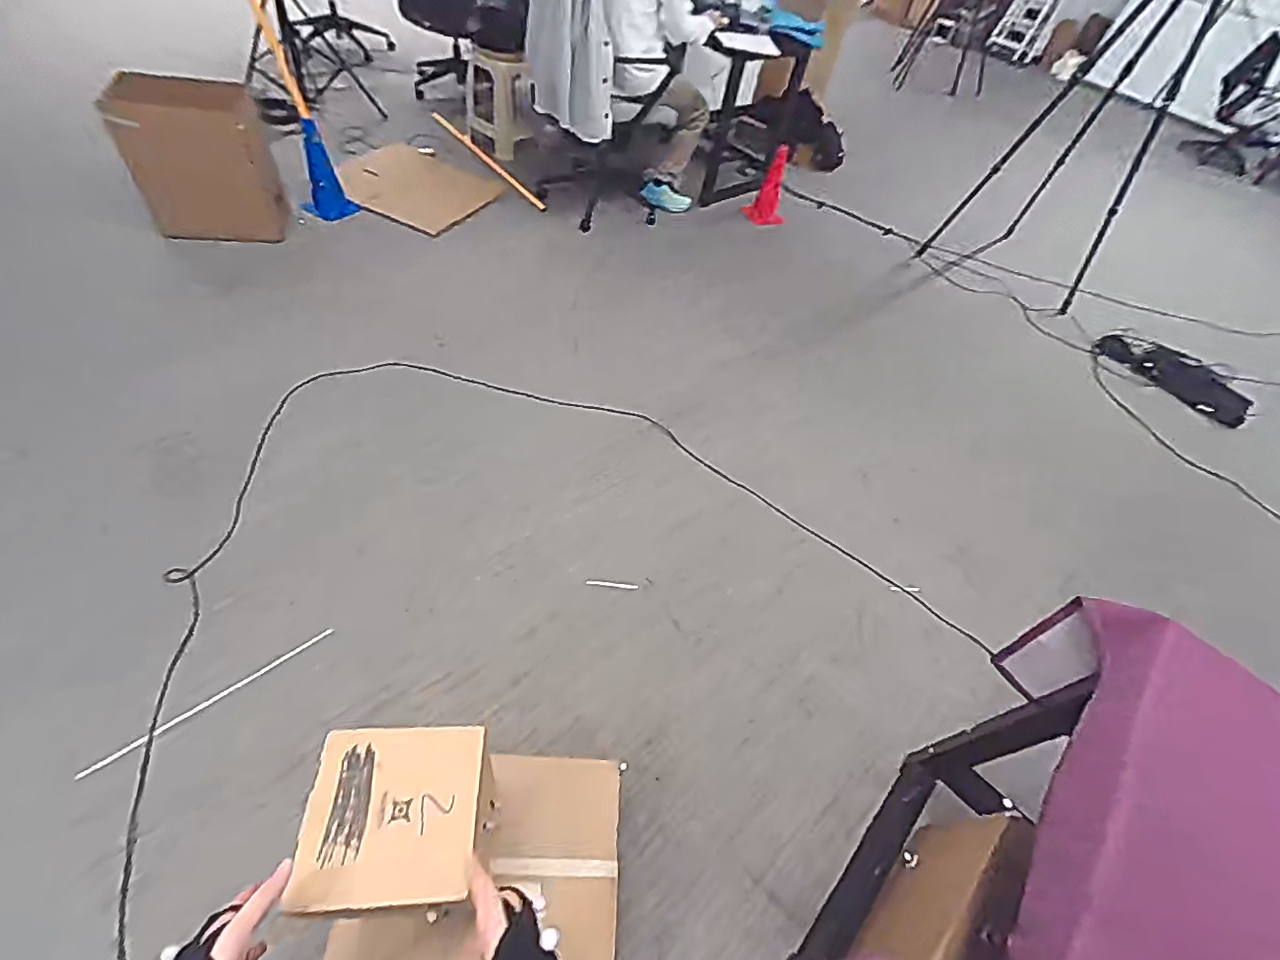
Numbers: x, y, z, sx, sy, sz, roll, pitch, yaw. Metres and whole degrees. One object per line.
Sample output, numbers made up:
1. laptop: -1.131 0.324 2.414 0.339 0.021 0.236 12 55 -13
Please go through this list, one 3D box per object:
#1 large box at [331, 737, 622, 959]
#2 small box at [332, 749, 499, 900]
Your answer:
1. large box: -0.255 0.664 0.958 0.408 0.320 0.320 7 53 -7
2. small box: -0.300 0.490 0.769 0.179 0.176 0.168 3 51 -8
